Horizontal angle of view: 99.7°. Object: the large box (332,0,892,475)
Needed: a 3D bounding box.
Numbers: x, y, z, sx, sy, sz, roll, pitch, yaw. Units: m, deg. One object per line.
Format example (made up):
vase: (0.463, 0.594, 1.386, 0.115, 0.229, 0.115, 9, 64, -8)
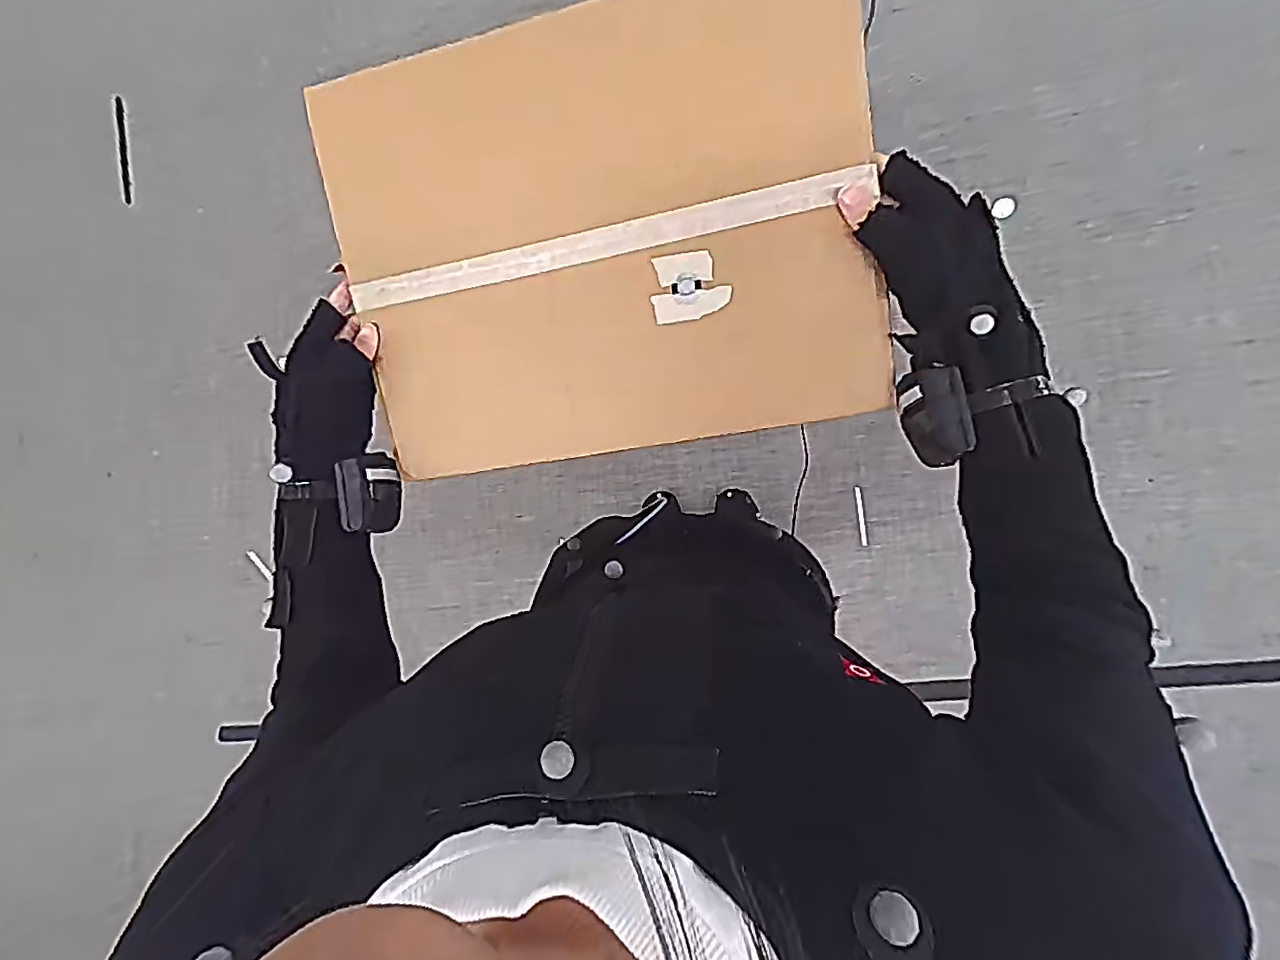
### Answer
large box: (-0.008, -0.209, 0.563, 0.408, 0.320, 0.320, -9, 100, 10)
